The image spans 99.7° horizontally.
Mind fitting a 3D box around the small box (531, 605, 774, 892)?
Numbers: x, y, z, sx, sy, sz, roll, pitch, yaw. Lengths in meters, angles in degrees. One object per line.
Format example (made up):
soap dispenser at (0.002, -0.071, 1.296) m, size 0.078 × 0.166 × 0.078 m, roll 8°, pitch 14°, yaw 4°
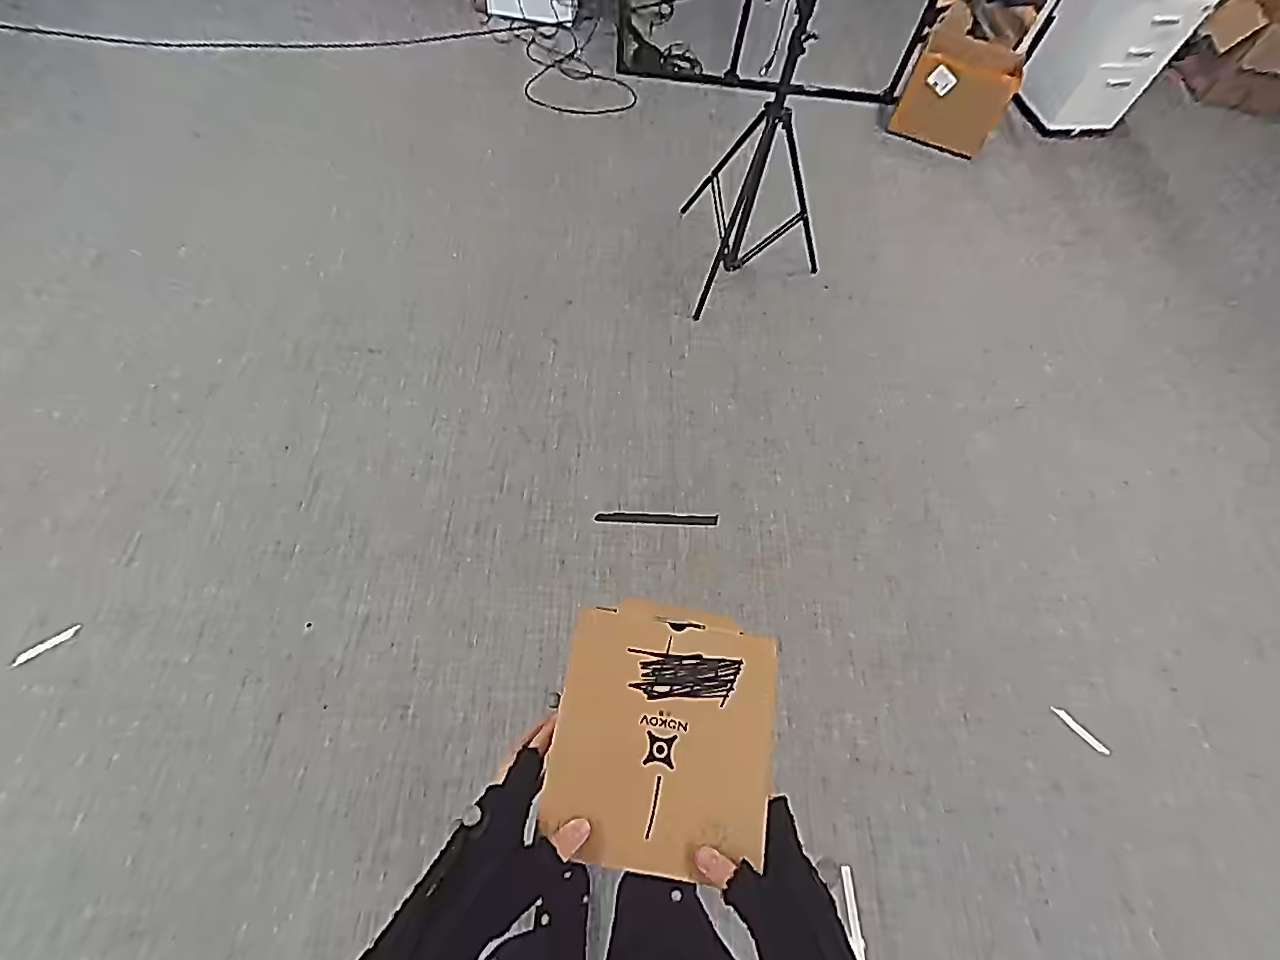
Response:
small box at (0.009, 0.226, 0.483) m, size 0.168 × 0.176 × 0.179 m, roll 10°, pitch 67°, yaw 0°
